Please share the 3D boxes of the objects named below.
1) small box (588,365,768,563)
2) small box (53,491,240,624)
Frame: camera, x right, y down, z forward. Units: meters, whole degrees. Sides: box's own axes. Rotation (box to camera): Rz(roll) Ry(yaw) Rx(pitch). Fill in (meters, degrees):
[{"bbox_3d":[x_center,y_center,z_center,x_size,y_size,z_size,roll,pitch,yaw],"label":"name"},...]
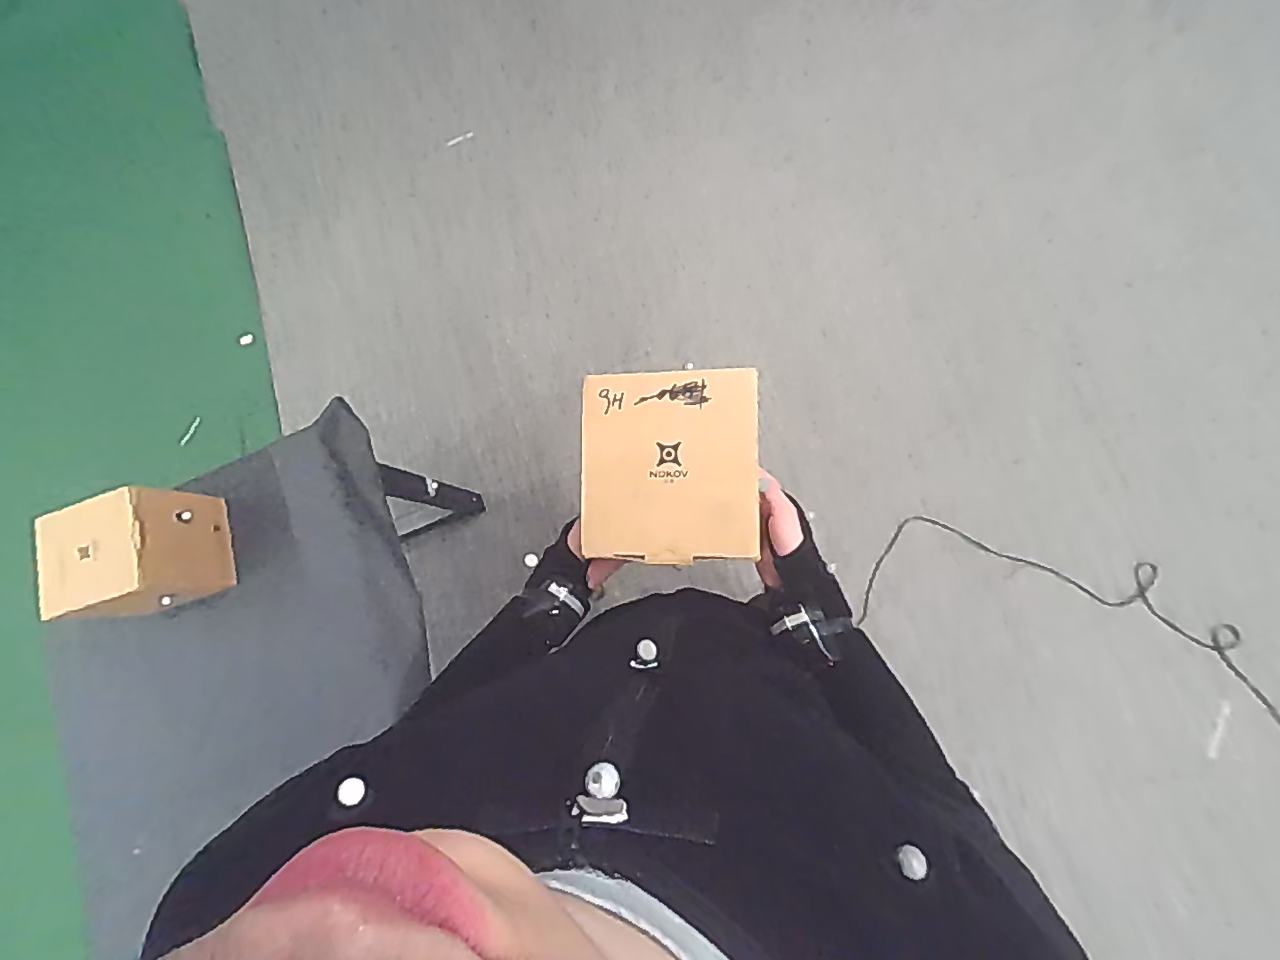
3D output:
[{"bbox_3d":[0.048,-0.009,0.564,0.168,0.176,0.179,-1,85,11],"label":"small box"},{"bbox_3d":[-0.809,0.132,0.903,0.179,0.176,0.168,-19,75,7],"label":"small box"}]
